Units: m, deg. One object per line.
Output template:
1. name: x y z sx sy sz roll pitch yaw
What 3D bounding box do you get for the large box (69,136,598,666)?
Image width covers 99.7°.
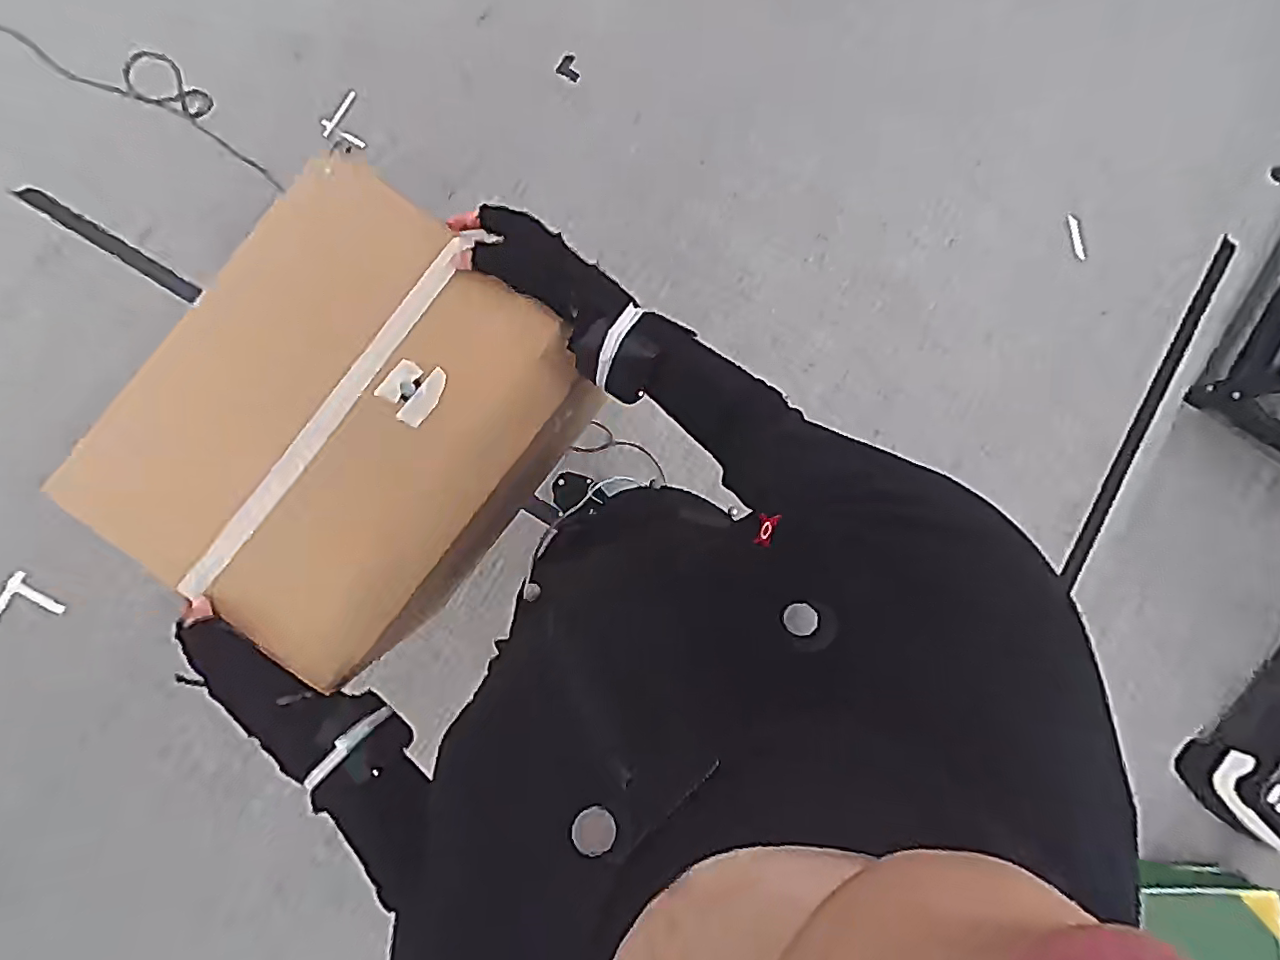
1. large box: -0.288 -0.071 0.648 0.320 0.320 0.408 38 87 -4
